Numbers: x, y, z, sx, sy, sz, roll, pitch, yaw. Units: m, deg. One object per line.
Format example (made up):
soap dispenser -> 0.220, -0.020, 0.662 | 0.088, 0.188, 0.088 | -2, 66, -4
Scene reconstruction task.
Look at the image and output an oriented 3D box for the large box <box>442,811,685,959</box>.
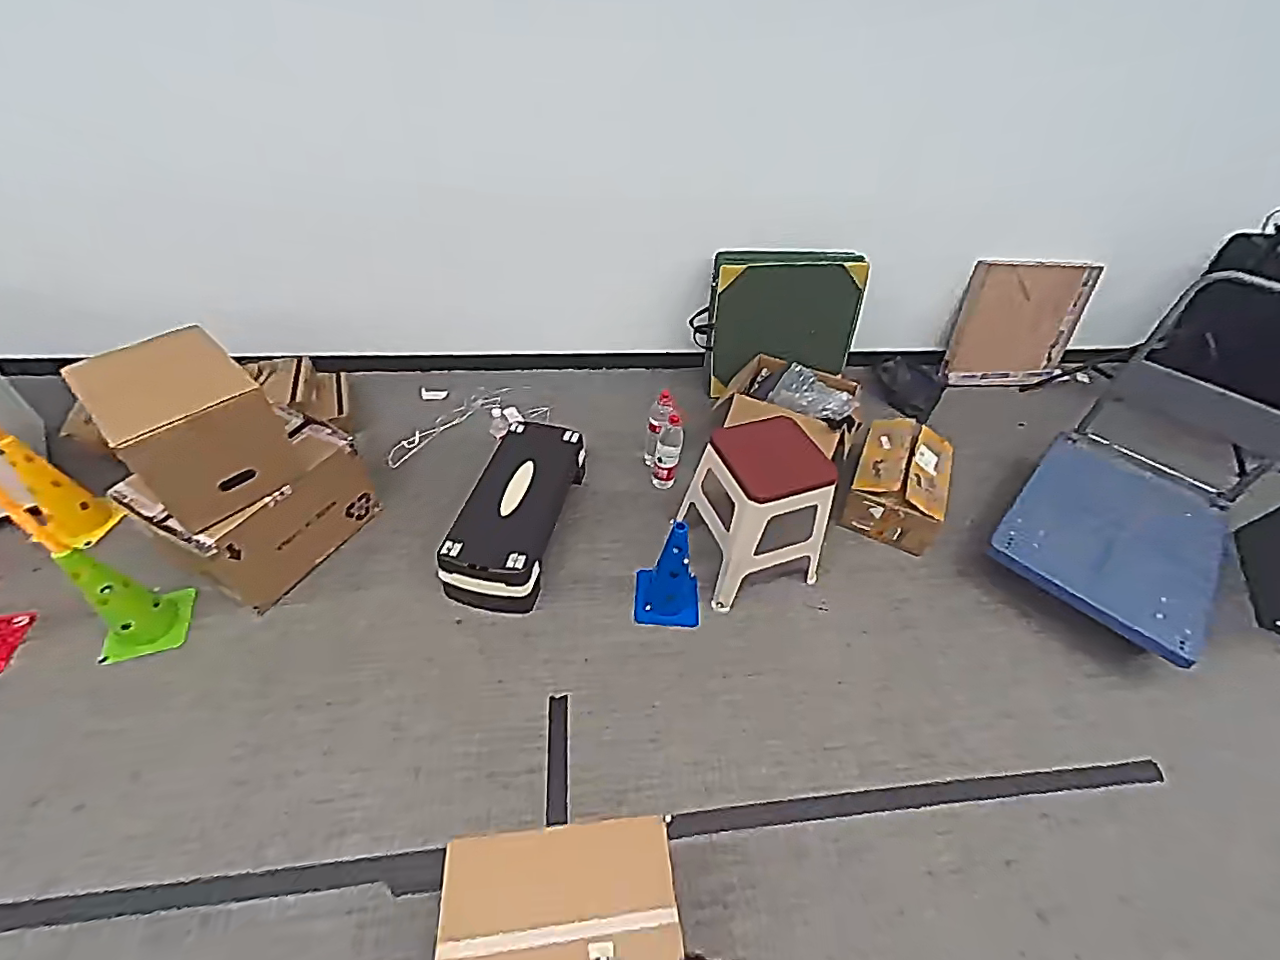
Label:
large box -> -0.143, 0.865, 1.020 | 0.408, 0.320, 0.320 | -2, 46, -9
